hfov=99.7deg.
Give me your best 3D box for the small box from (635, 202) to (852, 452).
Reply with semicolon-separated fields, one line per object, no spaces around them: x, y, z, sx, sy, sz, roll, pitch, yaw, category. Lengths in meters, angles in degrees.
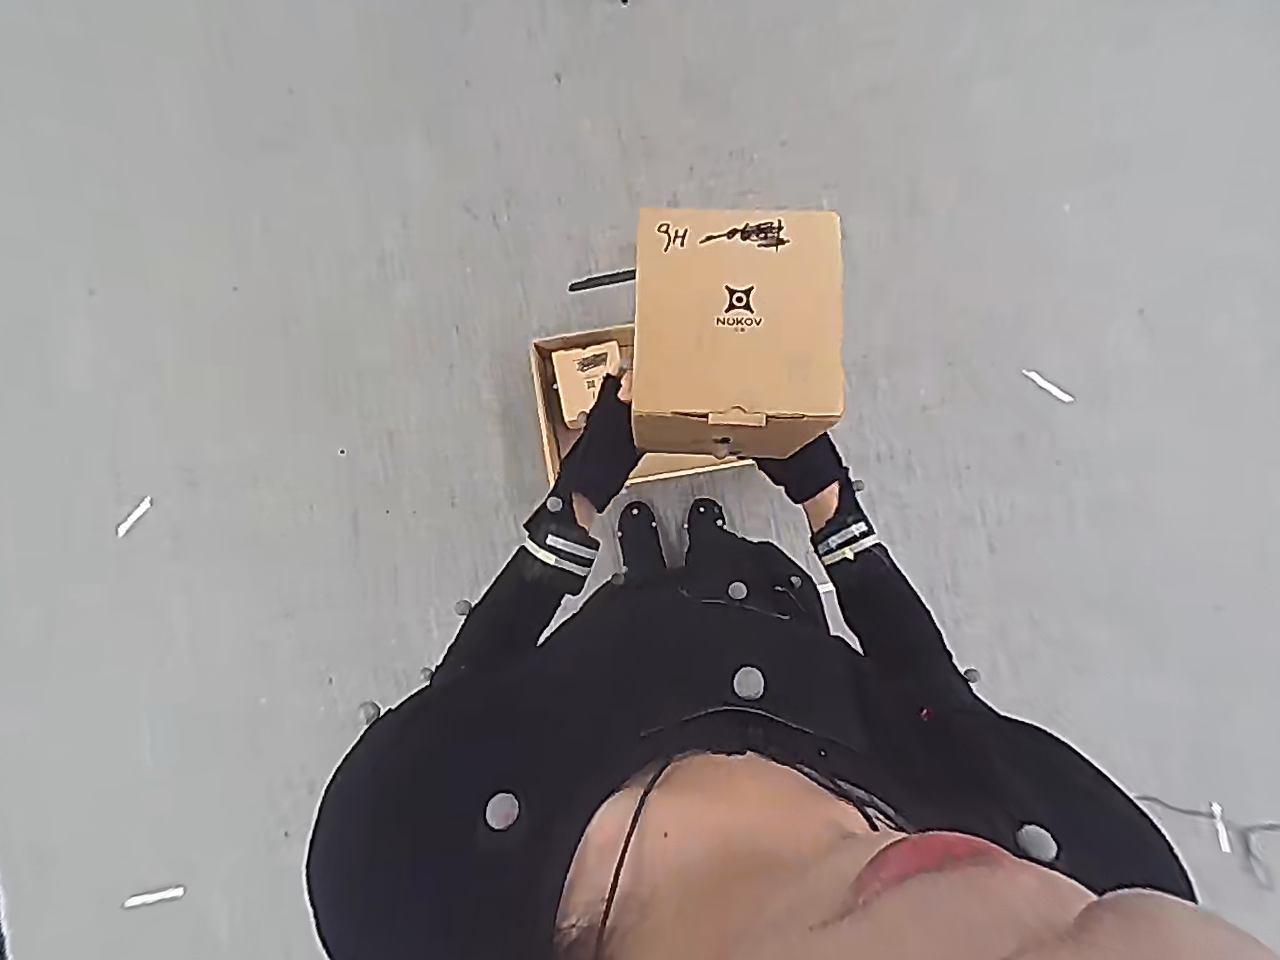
0.084;-0.124;0.500;0.168;0.176;0.179;2;83;1;small box
